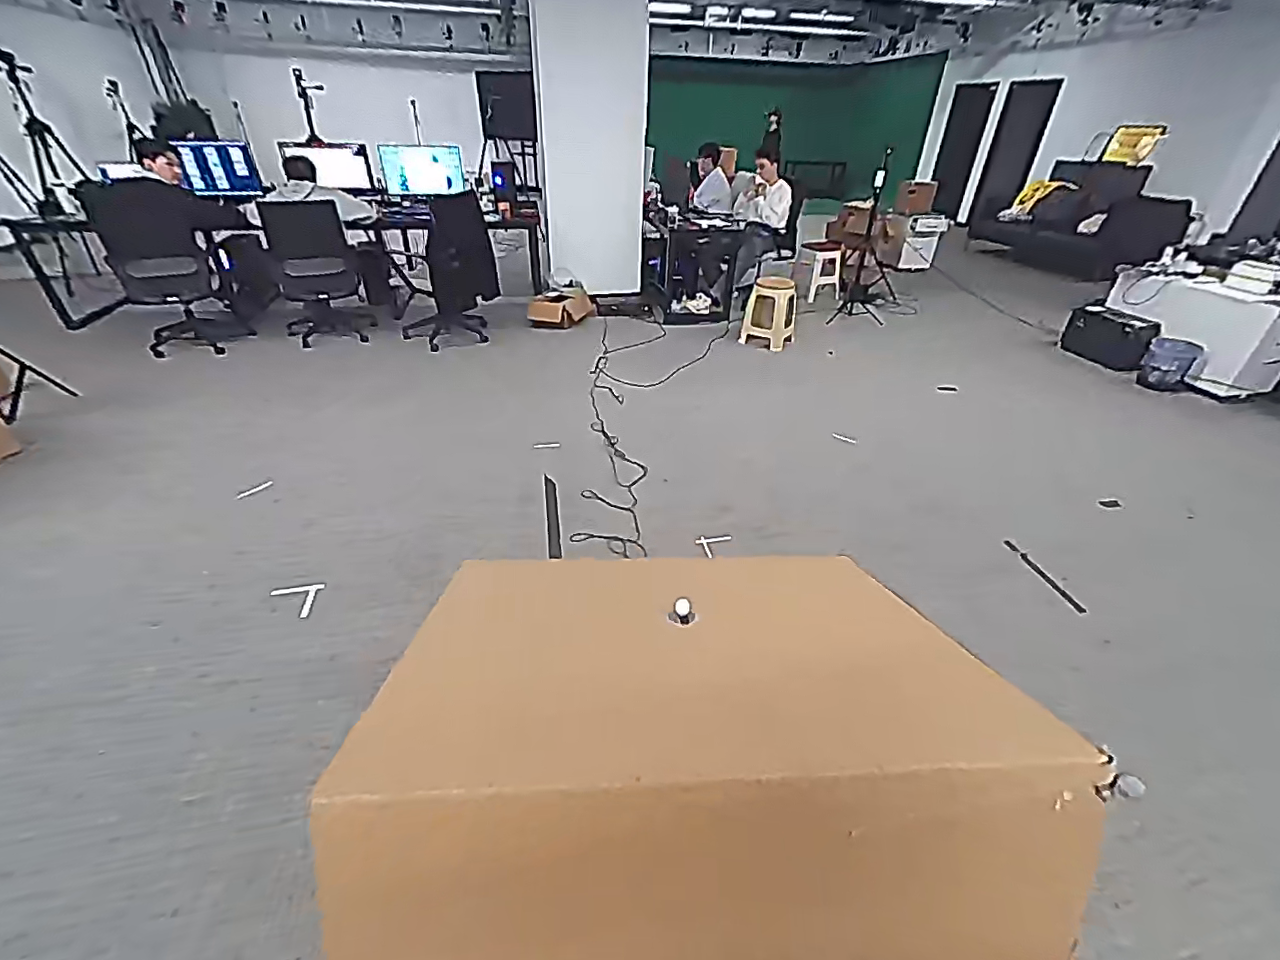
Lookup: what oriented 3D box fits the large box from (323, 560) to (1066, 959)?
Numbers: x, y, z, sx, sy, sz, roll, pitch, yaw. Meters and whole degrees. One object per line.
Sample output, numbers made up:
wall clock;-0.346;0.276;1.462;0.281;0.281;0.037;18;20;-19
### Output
large box;0.027;0.268;0.458;0.408;0.320;0.320;-1;13;-5
